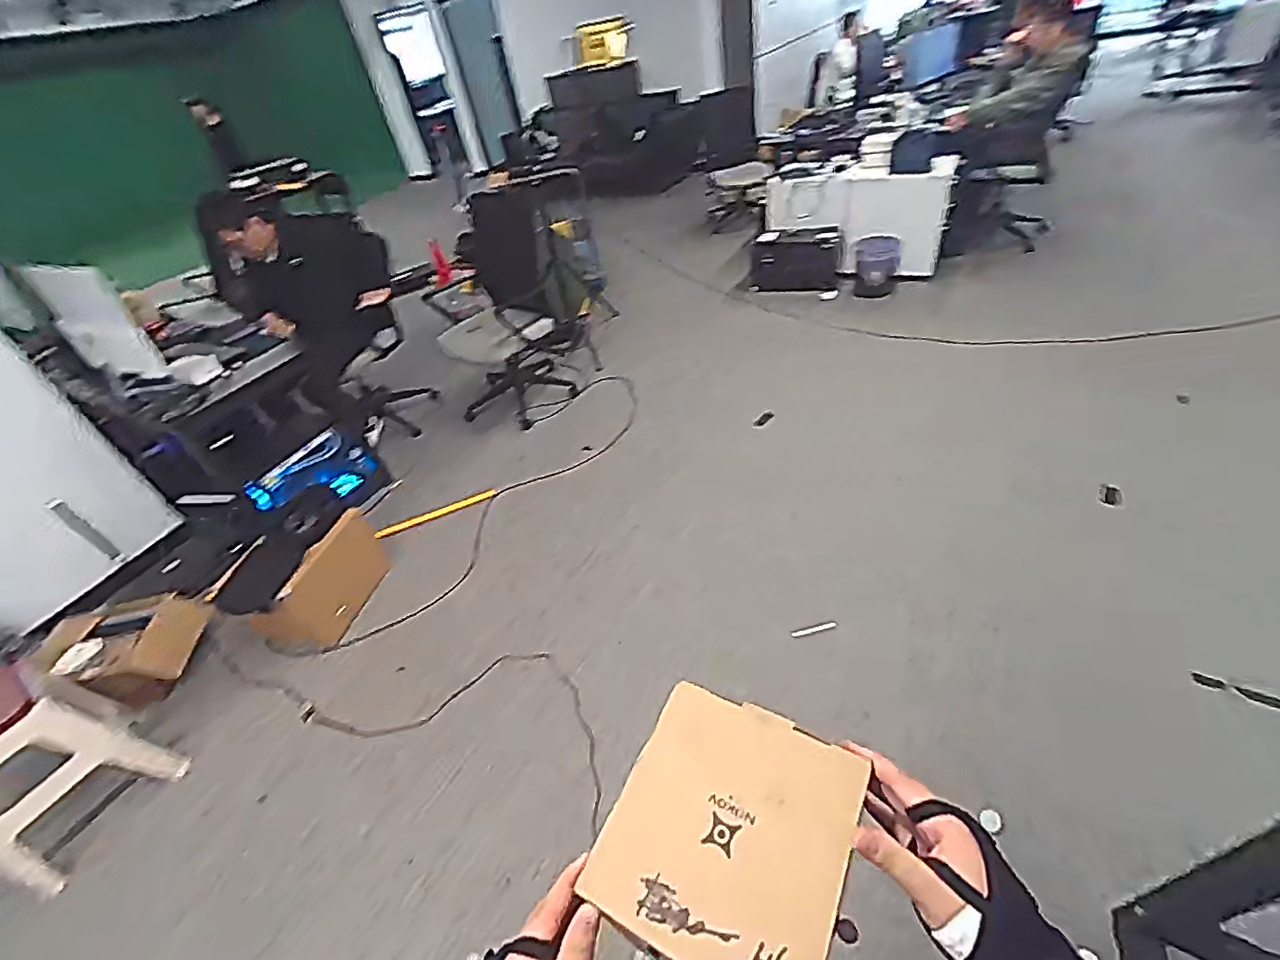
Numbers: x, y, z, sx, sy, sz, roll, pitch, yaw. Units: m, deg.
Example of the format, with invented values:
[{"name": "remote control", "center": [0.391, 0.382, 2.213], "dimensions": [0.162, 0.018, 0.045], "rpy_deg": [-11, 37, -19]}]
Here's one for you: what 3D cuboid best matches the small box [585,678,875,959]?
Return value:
[{"name": "small box", "center": [0.083, 0.309, 0.450], "dimensions": [0.168, 0.176, 0.179], "rpy_deg": [13, 46, 30]}]
